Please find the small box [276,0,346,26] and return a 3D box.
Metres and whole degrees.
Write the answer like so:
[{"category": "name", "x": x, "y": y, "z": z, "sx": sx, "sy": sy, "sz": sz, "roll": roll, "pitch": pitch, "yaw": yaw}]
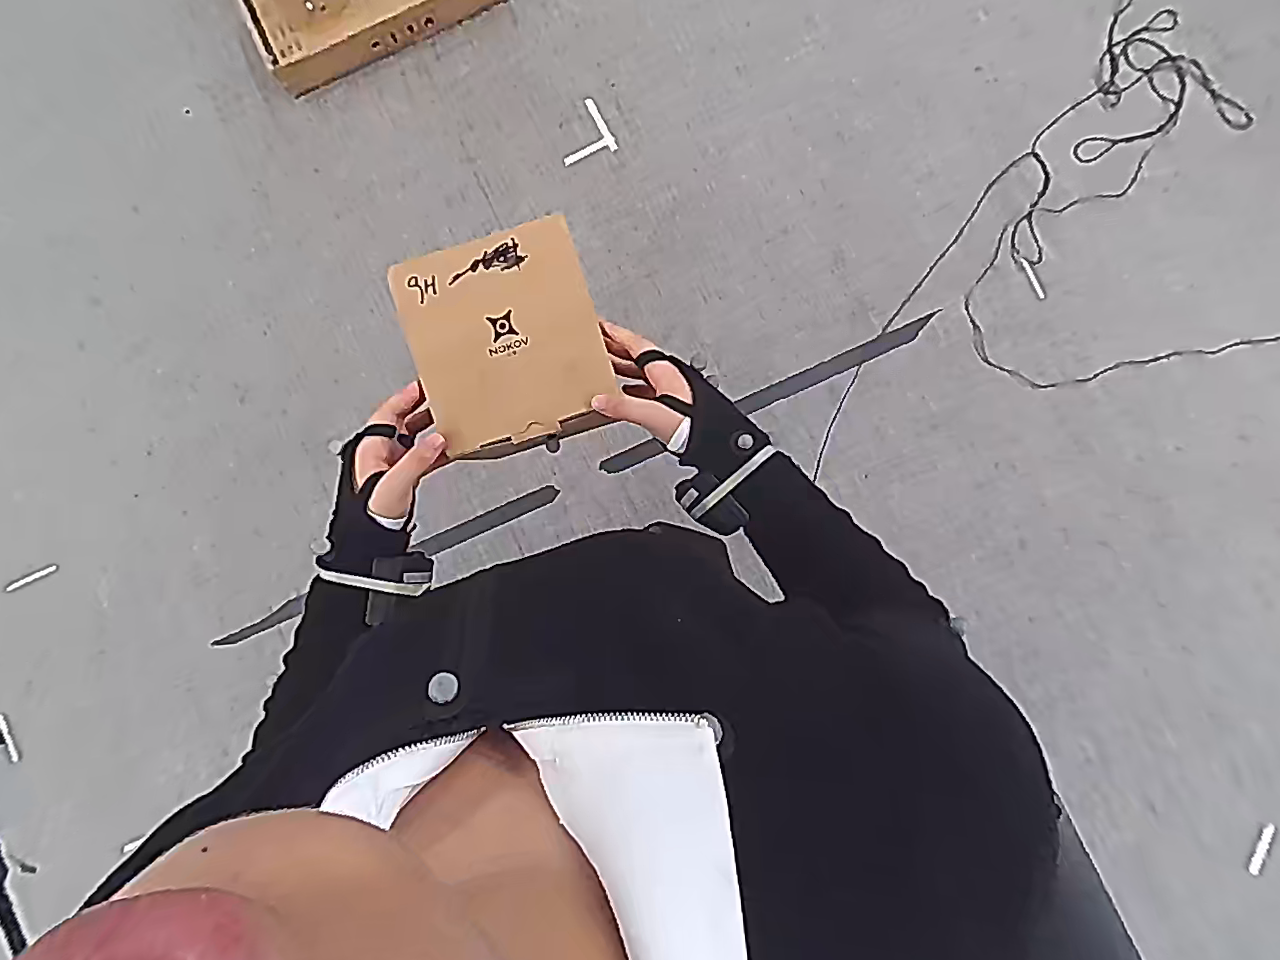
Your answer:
[{"category": "small box", "x": -0.911, "y": -1.354, "z": 1.408, "sx": 0.168, "sy": 0.176, "sz": 0.179, "roll": -26, "pitch": 87, "yaw": 0}]
